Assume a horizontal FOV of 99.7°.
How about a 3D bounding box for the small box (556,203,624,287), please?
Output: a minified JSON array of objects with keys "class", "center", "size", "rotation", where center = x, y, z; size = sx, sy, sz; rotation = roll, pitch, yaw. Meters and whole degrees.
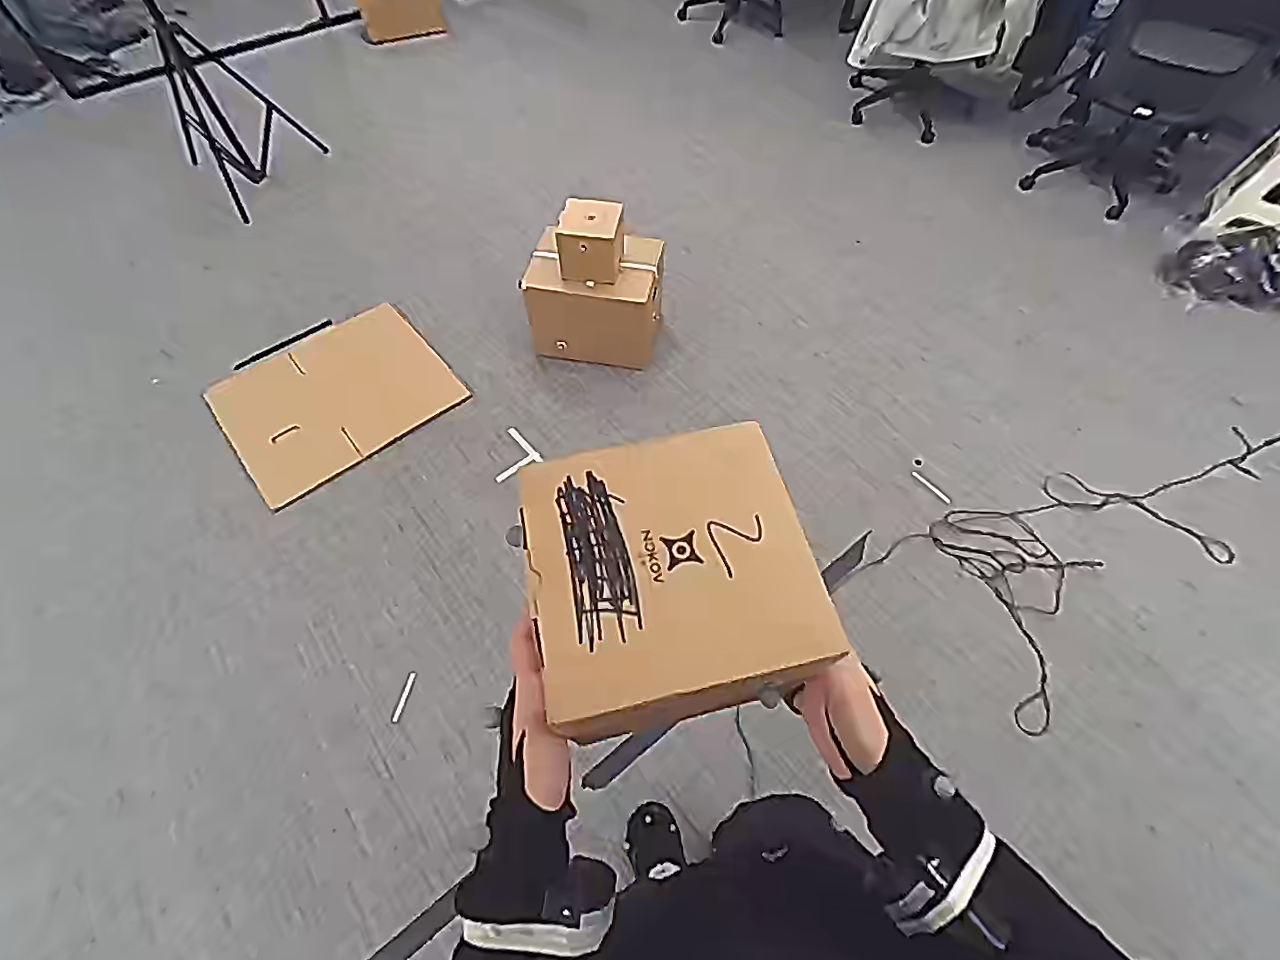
[{"class":"small box","center":[-0.148,-0.719,1.664],"size":[0.179,0.176,0.168],"rotation":[8,61,3]}]
